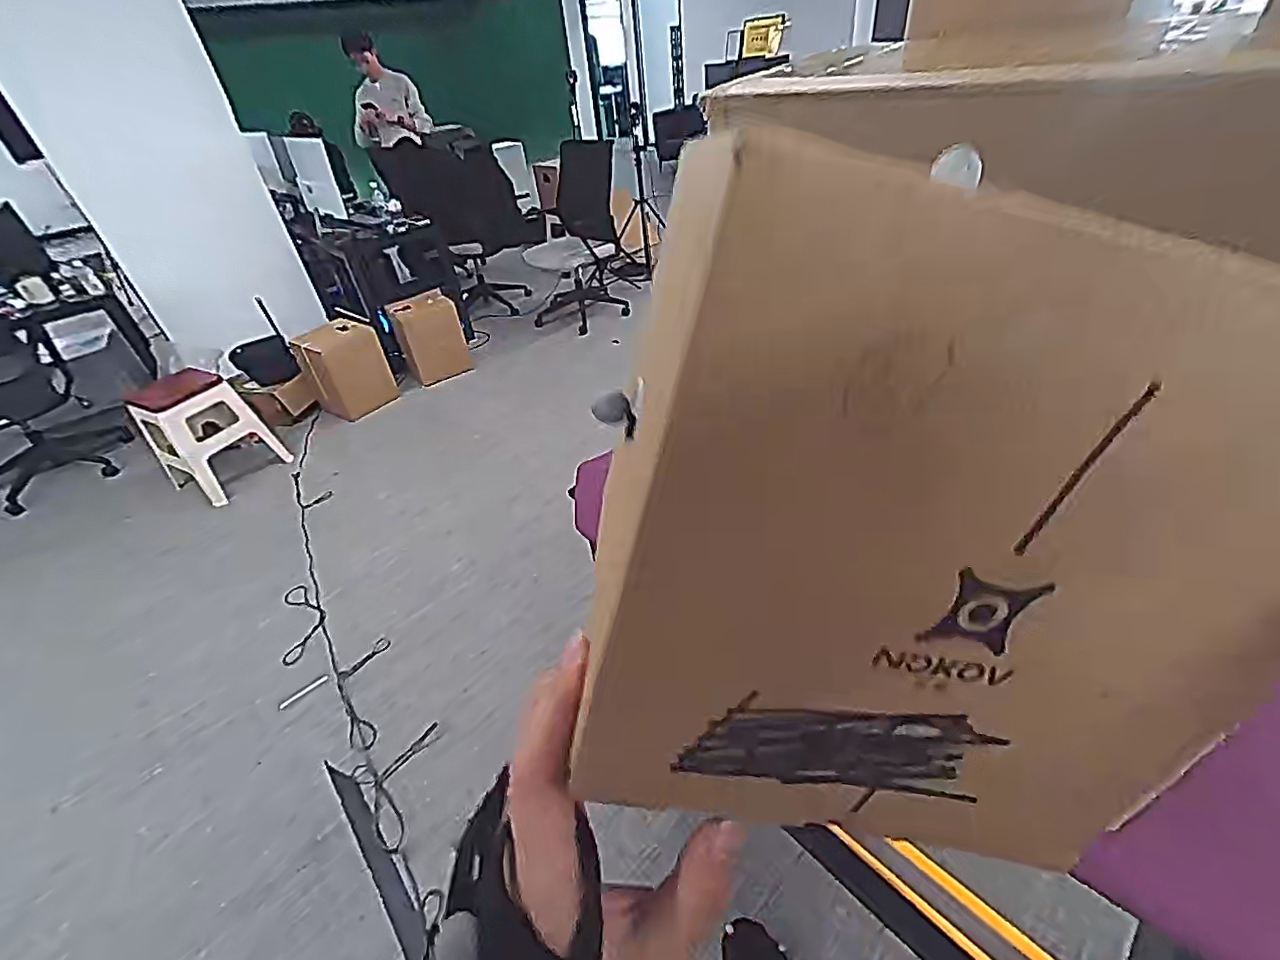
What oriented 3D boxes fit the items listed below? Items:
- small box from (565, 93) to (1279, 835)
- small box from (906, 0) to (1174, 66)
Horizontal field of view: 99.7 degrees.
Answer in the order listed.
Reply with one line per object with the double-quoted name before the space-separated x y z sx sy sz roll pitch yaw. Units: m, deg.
"small box" 0.076 -0.010 0.200 0.168 0.179 0.176 11 30 -6
"small box" 0.360 -0.471 0.465 0.168 0.176 0.179 -35 48 -28
